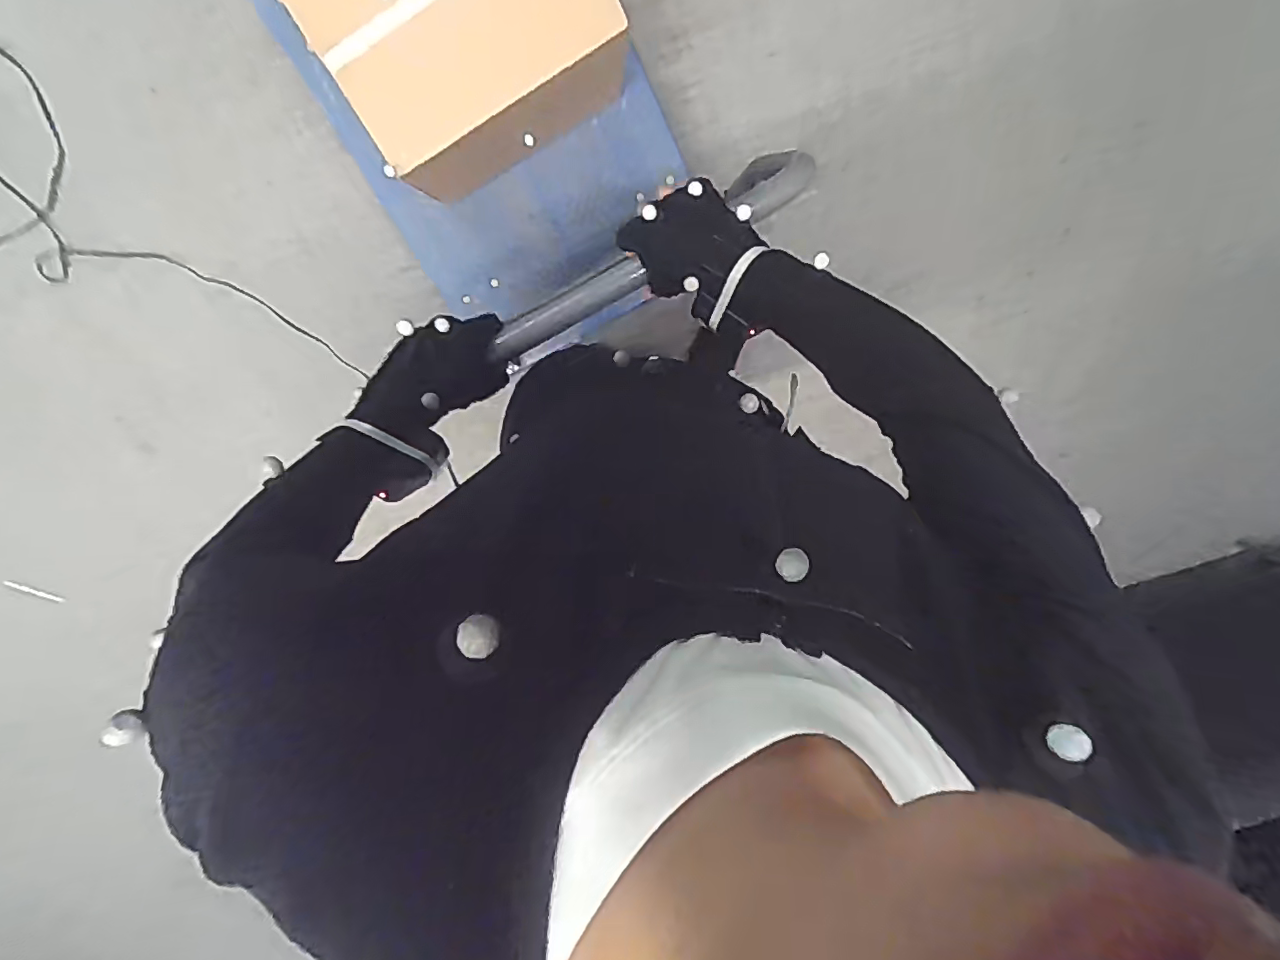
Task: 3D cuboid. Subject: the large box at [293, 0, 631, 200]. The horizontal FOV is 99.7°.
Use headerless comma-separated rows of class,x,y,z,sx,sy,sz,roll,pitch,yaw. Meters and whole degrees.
large box,-0.266,-0.731,0.887,0.408,0.320,0.320,-30,109,6
